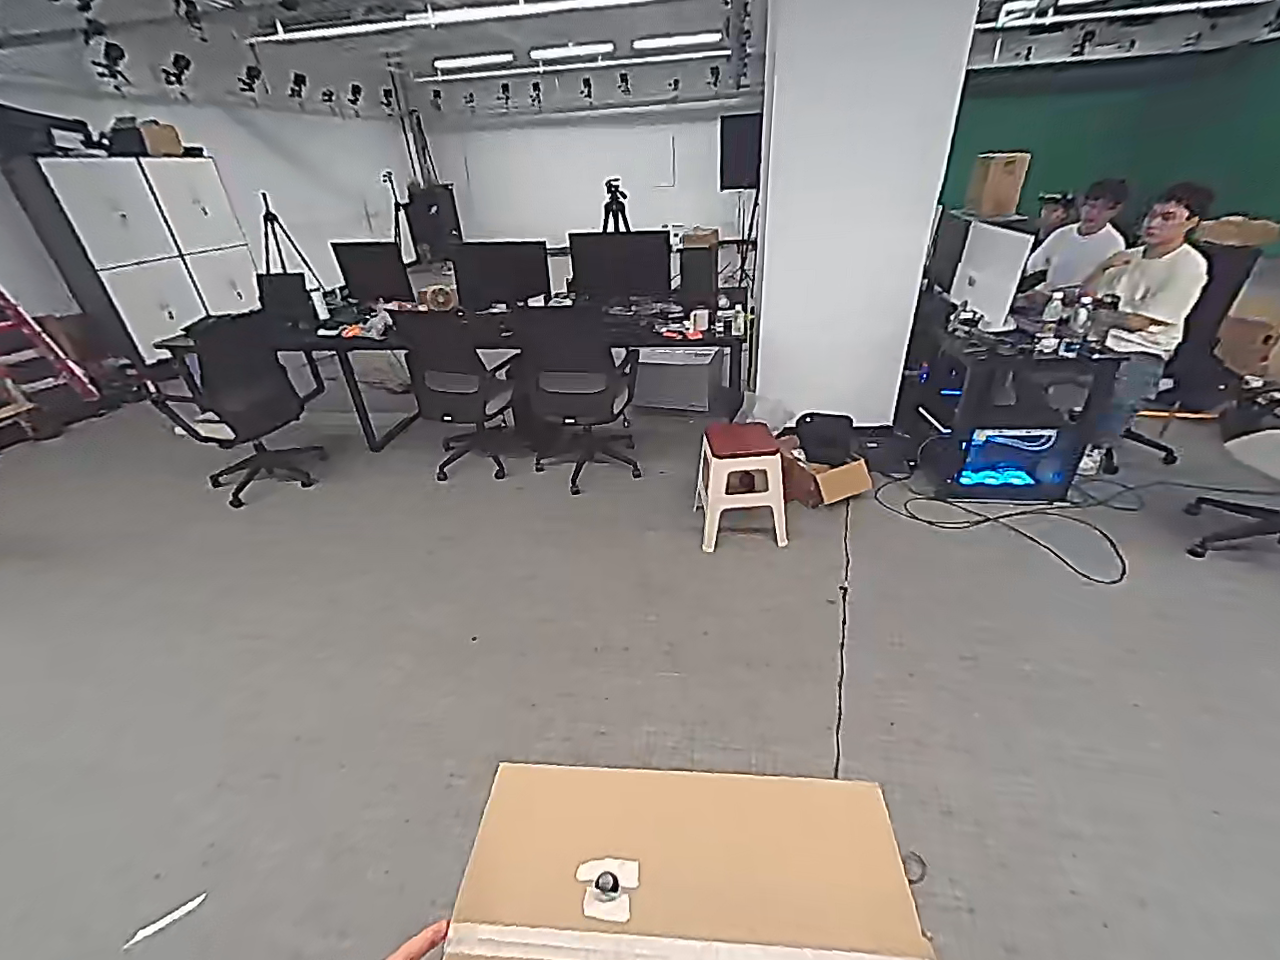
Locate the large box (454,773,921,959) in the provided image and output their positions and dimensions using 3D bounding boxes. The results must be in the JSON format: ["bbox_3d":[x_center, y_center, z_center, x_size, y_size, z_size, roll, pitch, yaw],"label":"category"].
[{"bbox_3d":[0.049,0.529,0.540,0.408,0.320,0.320,-1,32,6],"label":"large box"}]
